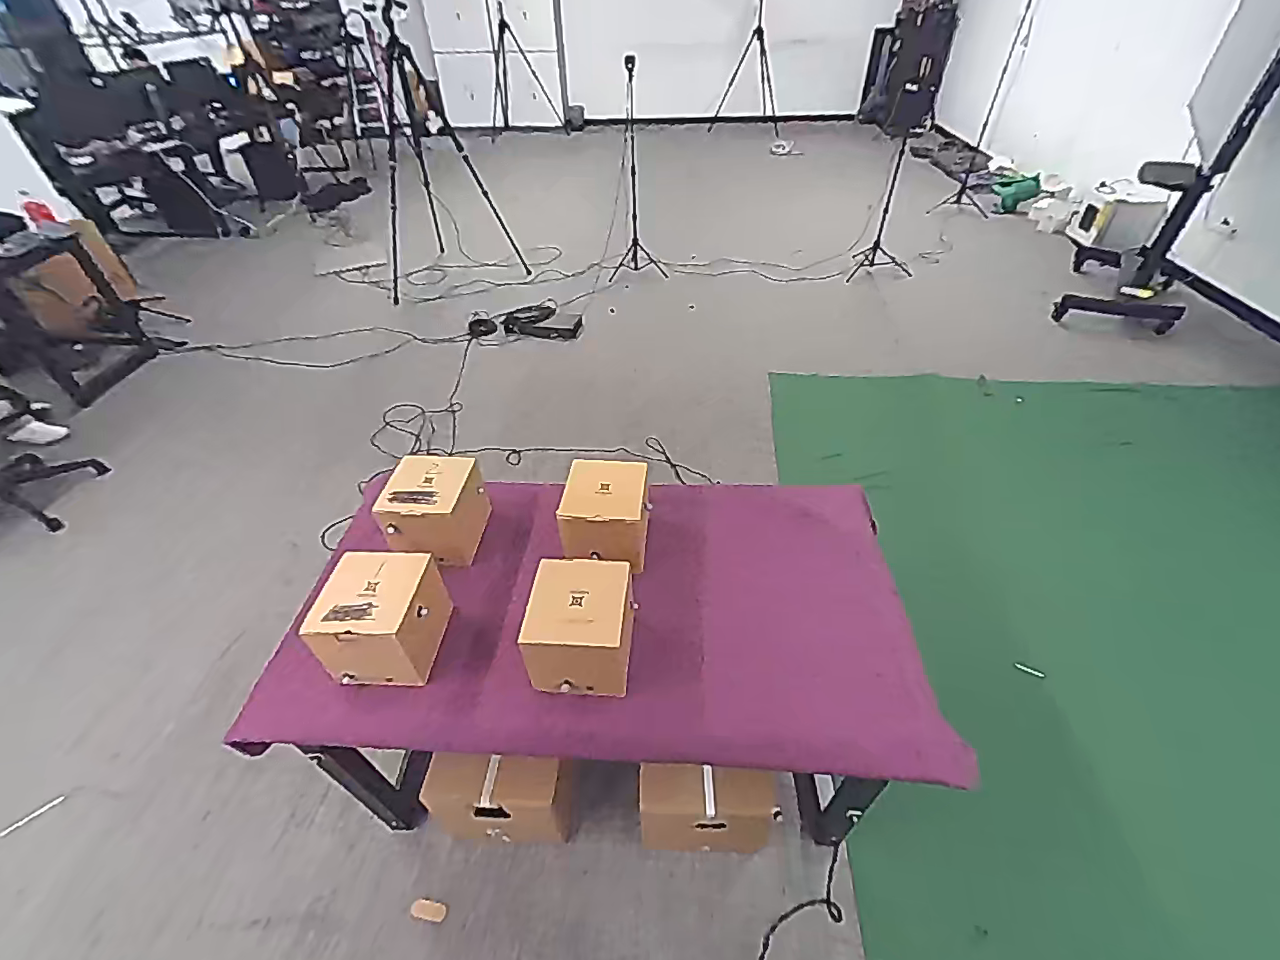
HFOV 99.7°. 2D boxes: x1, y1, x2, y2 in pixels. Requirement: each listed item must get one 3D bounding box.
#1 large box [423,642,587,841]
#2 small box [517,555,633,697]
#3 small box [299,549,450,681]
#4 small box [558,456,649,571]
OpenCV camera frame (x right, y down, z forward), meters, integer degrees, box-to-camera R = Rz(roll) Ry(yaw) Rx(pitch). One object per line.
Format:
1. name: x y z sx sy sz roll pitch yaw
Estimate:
1. large box: -0.331 0.701 1.463 0.320 0.320 0.408 2 42 3
2. small box: -0.104 0.256 0.959 0.168 0.176 0.179 2 42 6
3. small box: -0.465 0.246 0.982 0.168 0.176 0.179 1 41 3
4. small box: -0.070 0.071 1.159 0.168 0.176 0.179 3 44 5
